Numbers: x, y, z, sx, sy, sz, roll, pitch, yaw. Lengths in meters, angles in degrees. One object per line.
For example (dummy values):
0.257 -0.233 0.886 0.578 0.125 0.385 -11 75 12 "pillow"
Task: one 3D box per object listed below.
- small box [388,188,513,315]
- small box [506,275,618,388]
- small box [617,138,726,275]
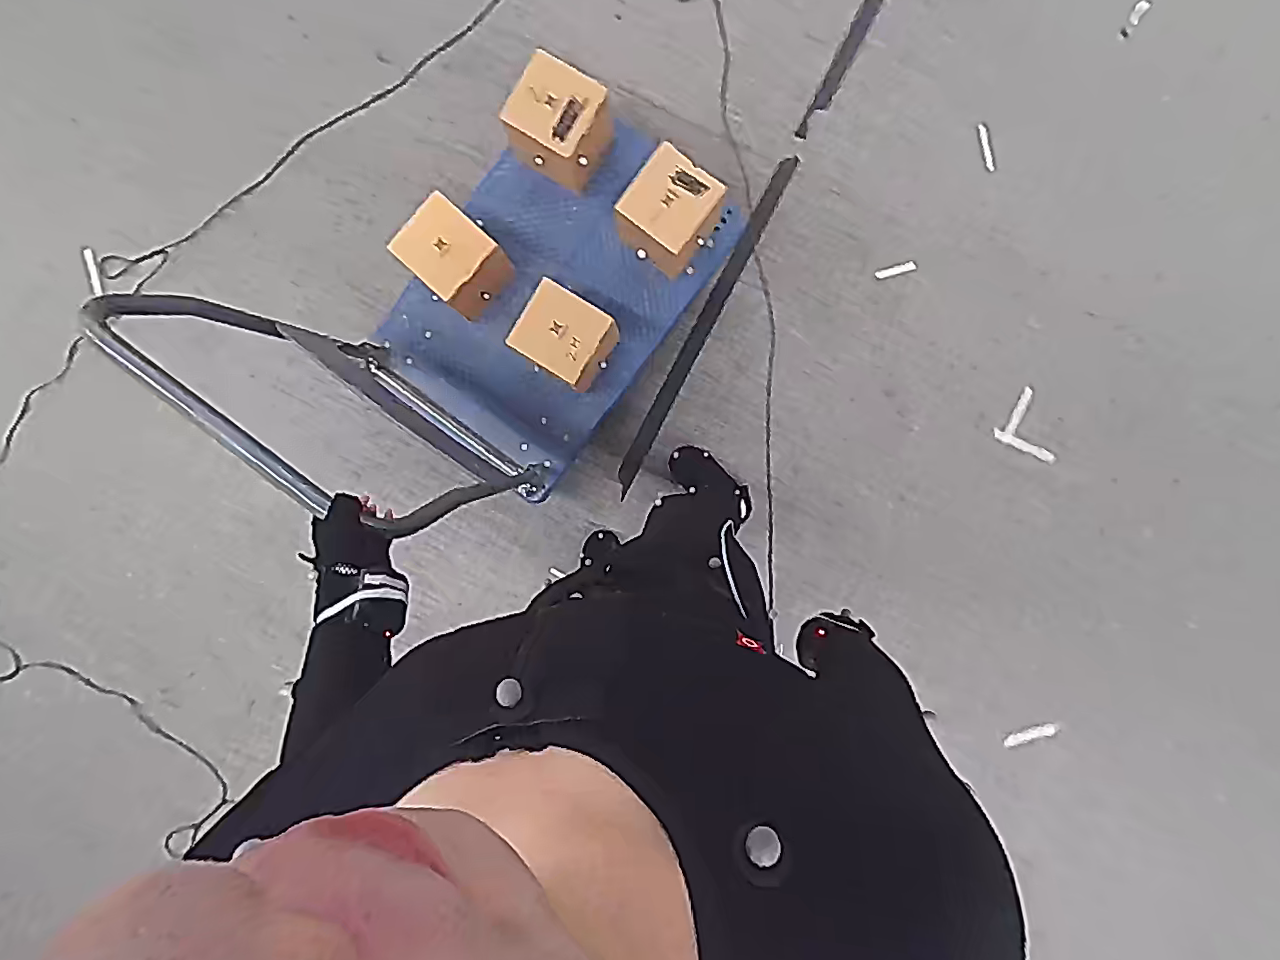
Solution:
-0.417 -0.502 1.219 0.179 0.176 0.168 42 93 -2 "small box"
-0.167 -0.323 1.217 0.179 0.176 0.168 32 93 1 "small box"
0.066 -0.595 1.199 0.168 0.176 0.179 38 94 0 "small box"
